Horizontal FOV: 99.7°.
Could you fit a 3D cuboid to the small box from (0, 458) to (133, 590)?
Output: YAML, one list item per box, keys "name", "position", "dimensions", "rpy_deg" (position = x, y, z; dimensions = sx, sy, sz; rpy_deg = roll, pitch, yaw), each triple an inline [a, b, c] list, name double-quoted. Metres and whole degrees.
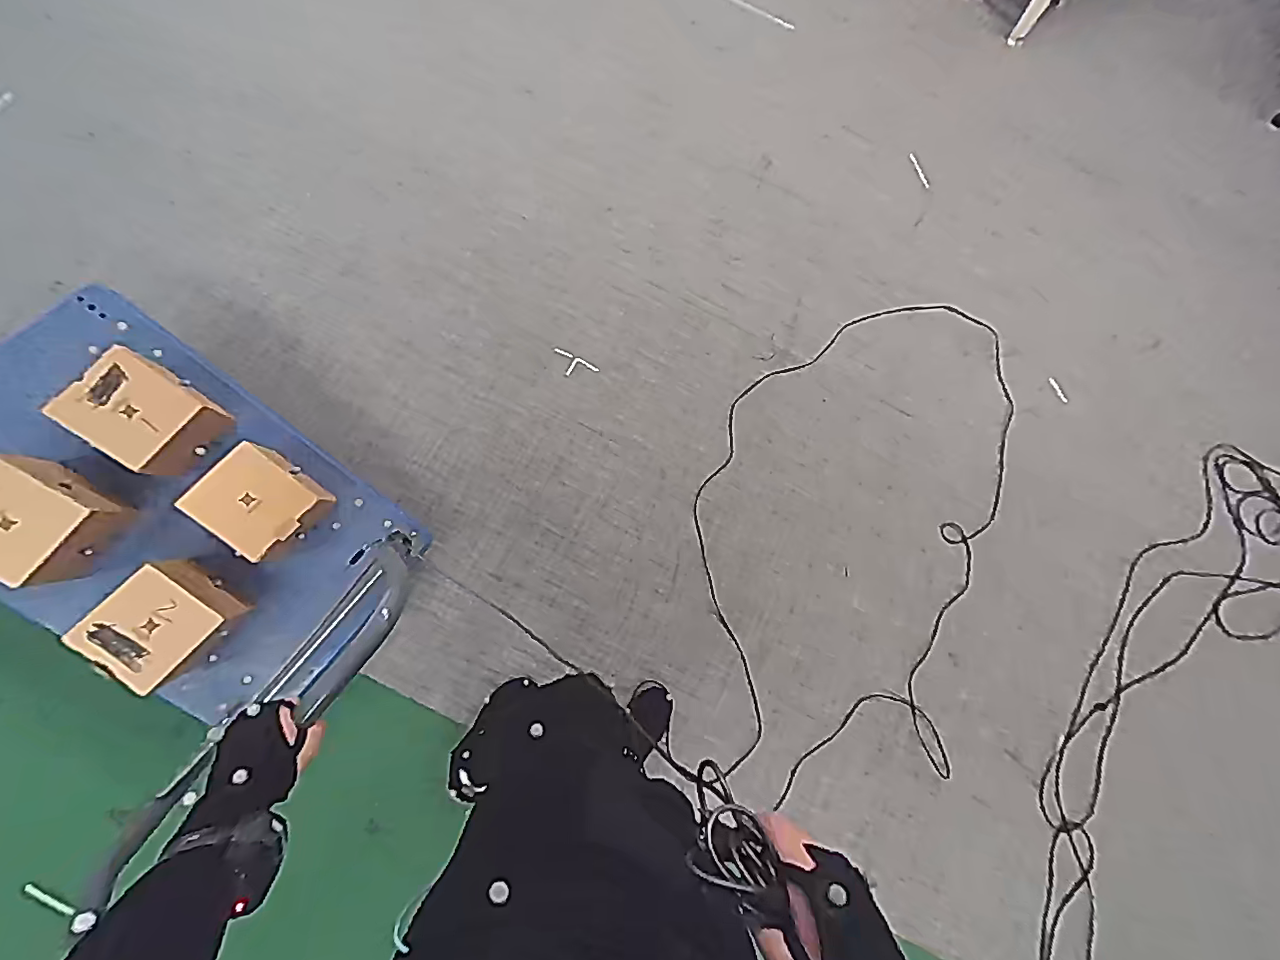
- name: "small box"
  position: [-1.099, 0.076, 0.983]
  dimensions: [0.179, 0.176, 0.168]
  rpy_deg: [37, 75, -13]

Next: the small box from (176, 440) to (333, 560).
- name: "small box"
  position: [-0.768, 0.045, 1.102]
  dimensions: [0.179, 0.176, 0.168]
  rpy_deg: [42, 74, -13]

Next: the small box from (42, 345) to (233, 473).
- name: "small box"
  position: [-0.953, -0.125, 1.048]
  dimensions: [0.179, 0.176, 0.168]
  rpy_deg: [39, 76, -13]
